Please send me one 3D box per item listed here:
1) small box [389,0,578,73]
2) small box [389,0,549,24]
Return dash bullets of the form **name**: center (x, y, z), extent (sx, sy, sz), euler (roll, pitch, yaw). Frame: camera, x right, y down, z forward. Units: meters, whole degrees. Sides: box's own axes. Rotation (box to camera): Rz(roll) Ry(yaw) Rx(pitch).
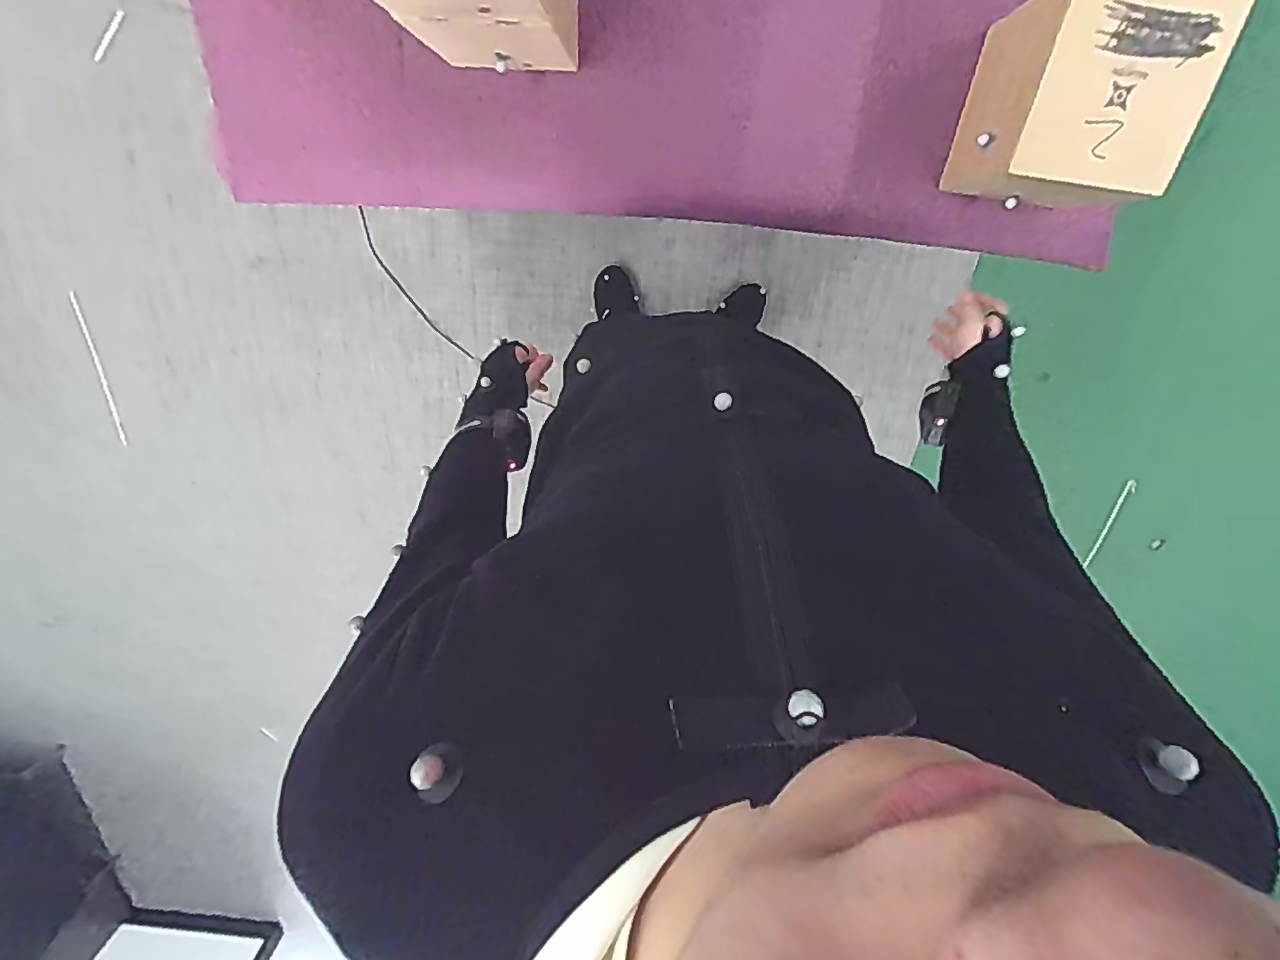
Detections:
- **small box**: center (-0.160, -0.572, 0.581), extent (0.168, 0.176, 0.179), euler (4, 115, 2)
- **small box**: center (-0.170, -0.507, 0.430), extent (0.168, 0.176, 0.179), euler (4, 113, 2)
